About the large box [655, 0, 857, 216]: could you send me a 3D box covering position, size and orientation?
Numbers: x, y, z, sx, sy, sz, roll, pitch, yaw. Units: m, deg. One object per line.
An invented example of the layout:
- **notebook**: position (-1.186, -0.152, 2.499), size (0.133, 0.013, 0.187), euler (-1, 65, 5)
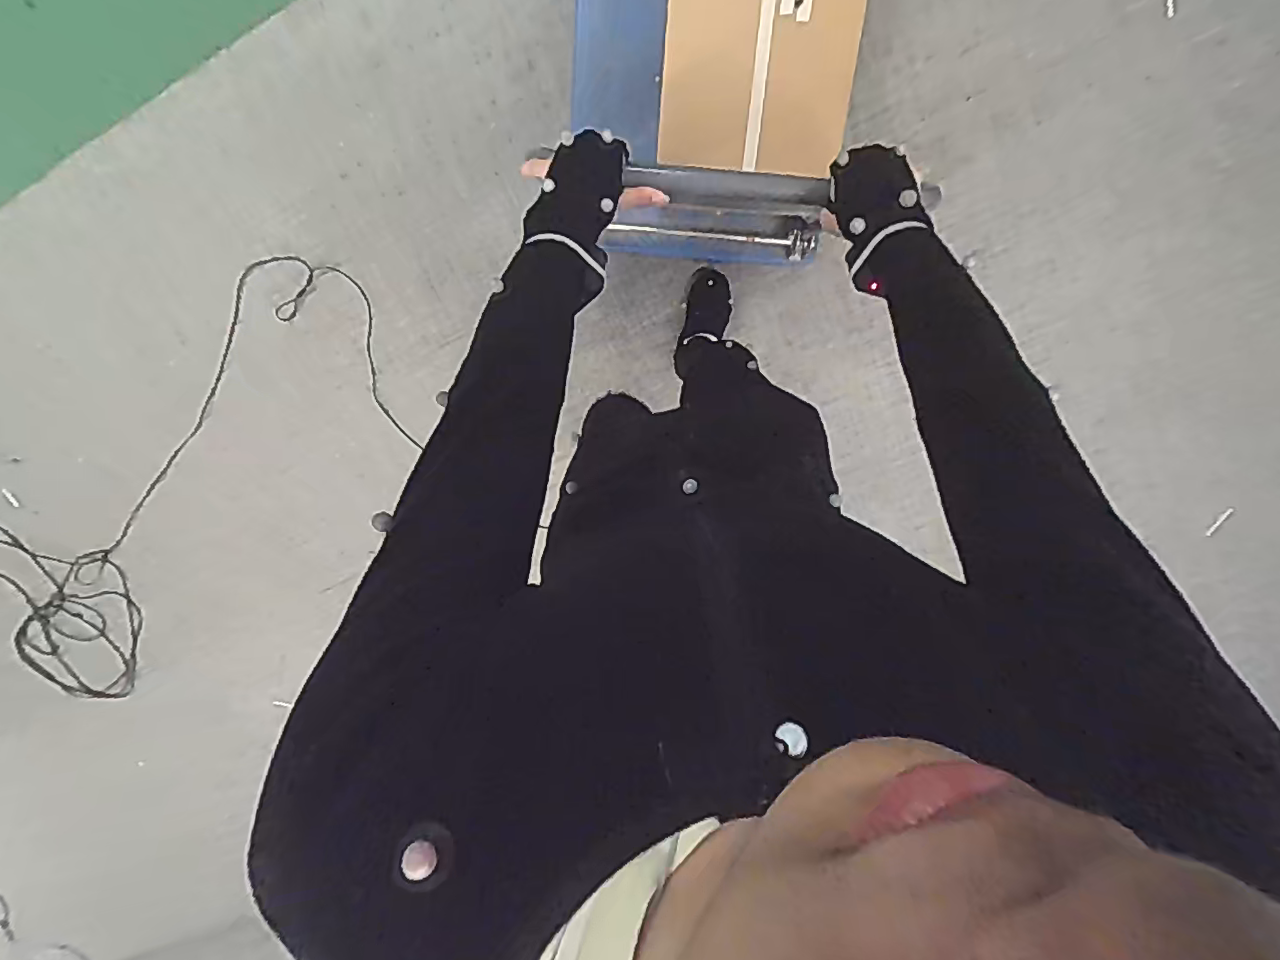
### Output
- **large box**: position (0.198, -0.751, 1.039), size (0.320, 0.320, 0.408), euler (4, 109, 0)
